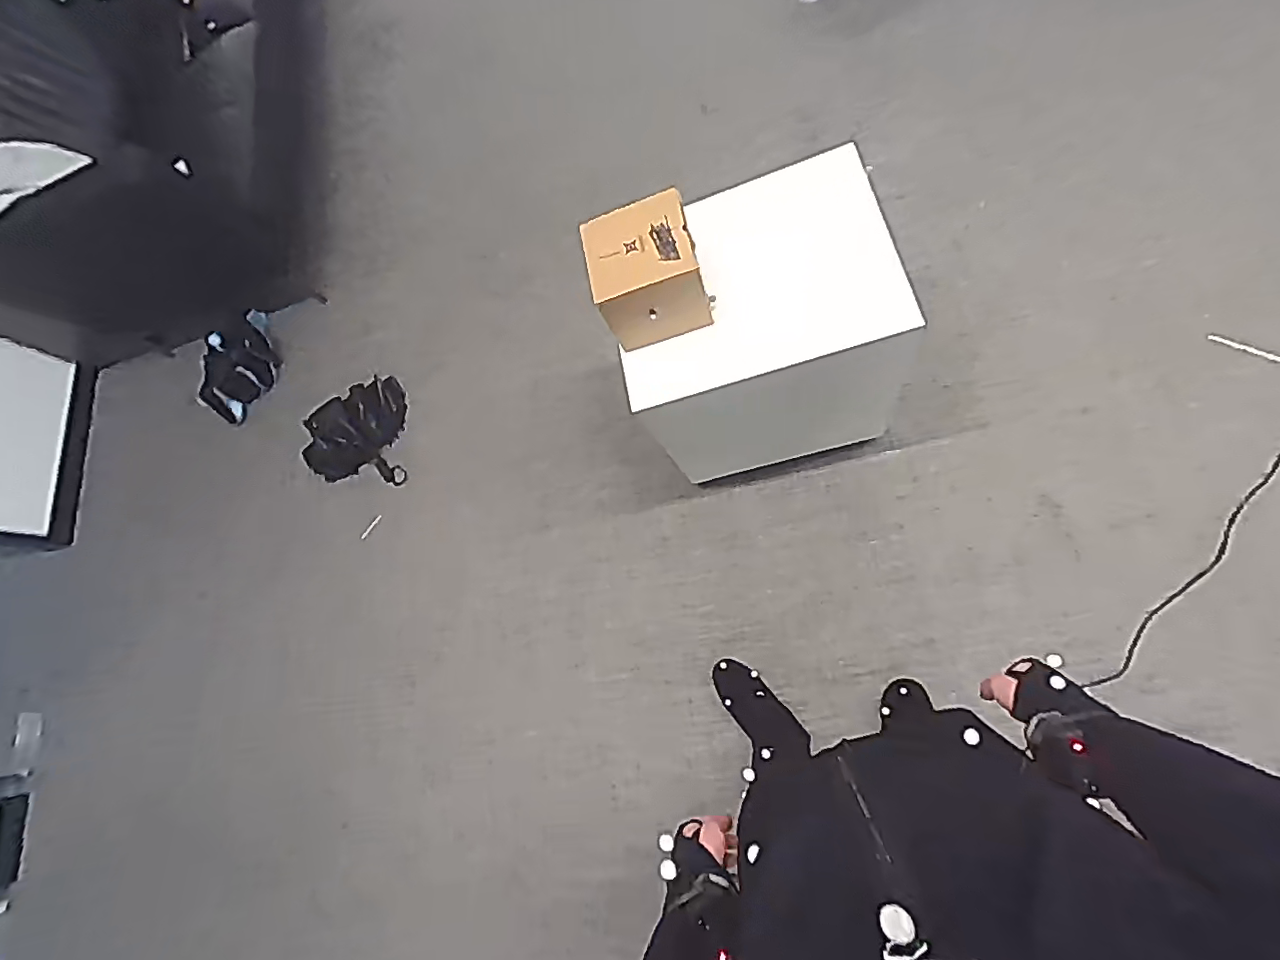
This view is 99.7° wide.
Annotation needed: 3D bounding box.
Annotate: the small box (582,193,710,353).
[{"bbox_3d":[0.019,-0.352,0.950,0.179,0.176,0.168,-16,71,13],"label":"small box"}]
